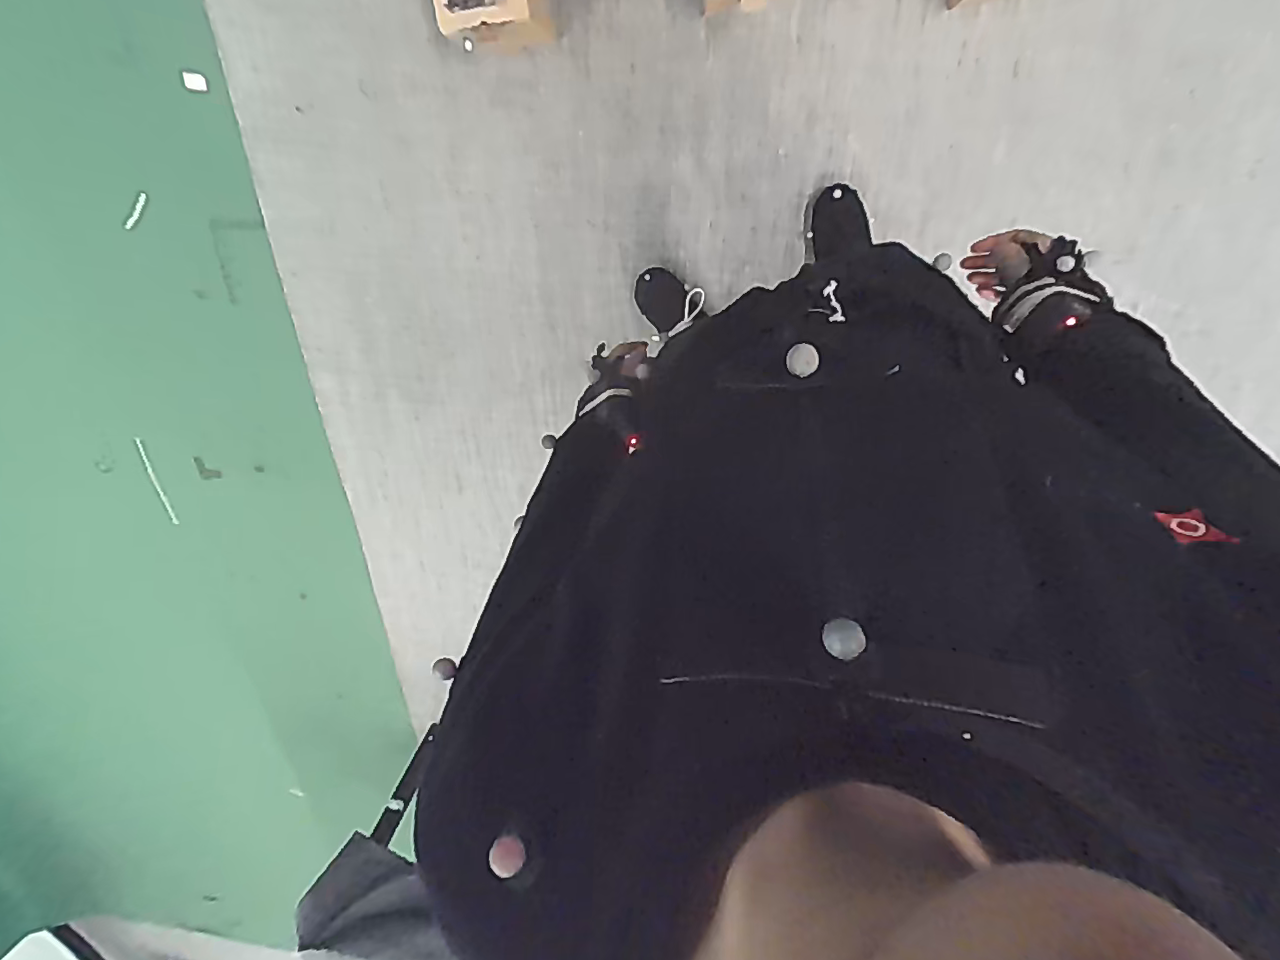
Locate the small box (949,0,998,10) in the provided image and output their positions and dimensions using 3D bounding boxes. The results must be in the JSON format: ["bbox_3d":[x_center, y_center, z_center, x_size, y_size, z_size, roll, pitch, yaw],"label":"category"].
[{"bbox_3d":[0.590,-0.866,0.830,0.168,0.176,0.179,-9,114,12],"label":"small box"}]

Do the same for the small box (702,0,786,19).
[{"bbox_3d":[0.173,-0.898,0.878,0.168,0.176,0.179,-6,117,11],"label":"small box"}]
